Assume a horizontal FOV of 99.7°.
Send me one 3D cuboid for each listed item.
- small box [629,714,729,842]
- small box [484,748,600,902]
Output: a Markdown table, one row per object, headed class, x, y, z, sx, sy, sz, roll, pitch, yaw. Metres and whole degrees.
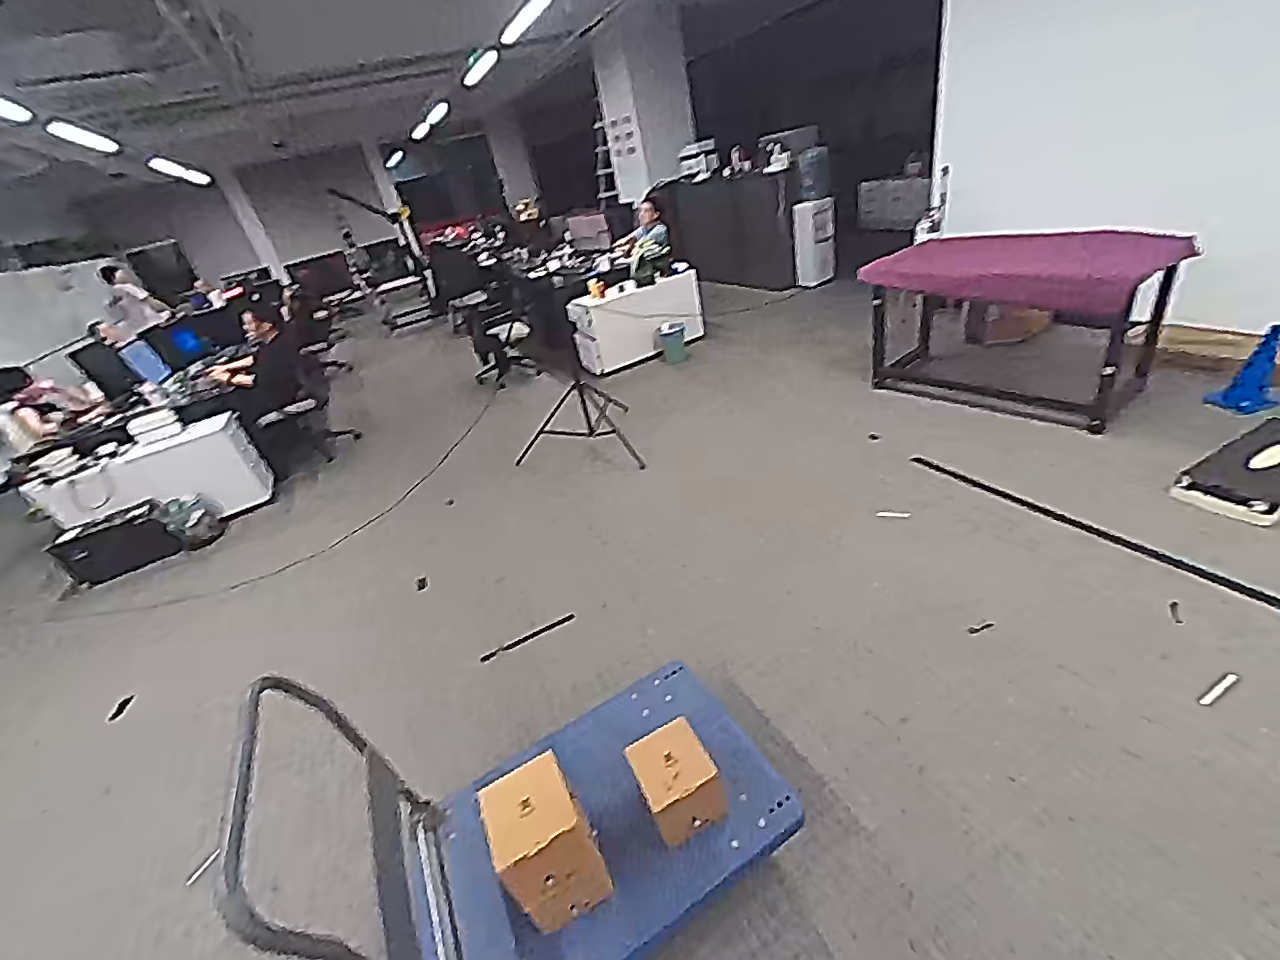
| class | x | y | z | sx | sy | sz | roll | pitch | yaw |
| --- | --- | --- | --- | --- | --- | --- | --- | --- | --- |
| small box | 0.093 | 0.712 | 1.296 | 0.168 | 0.176 | 0.179 | -24 | 32 | -15 |
| small box | -0.200 | 0.704 | 1.109 | 0.168 | 0.176 | 0.179 | -24 | 33 | -17 |
